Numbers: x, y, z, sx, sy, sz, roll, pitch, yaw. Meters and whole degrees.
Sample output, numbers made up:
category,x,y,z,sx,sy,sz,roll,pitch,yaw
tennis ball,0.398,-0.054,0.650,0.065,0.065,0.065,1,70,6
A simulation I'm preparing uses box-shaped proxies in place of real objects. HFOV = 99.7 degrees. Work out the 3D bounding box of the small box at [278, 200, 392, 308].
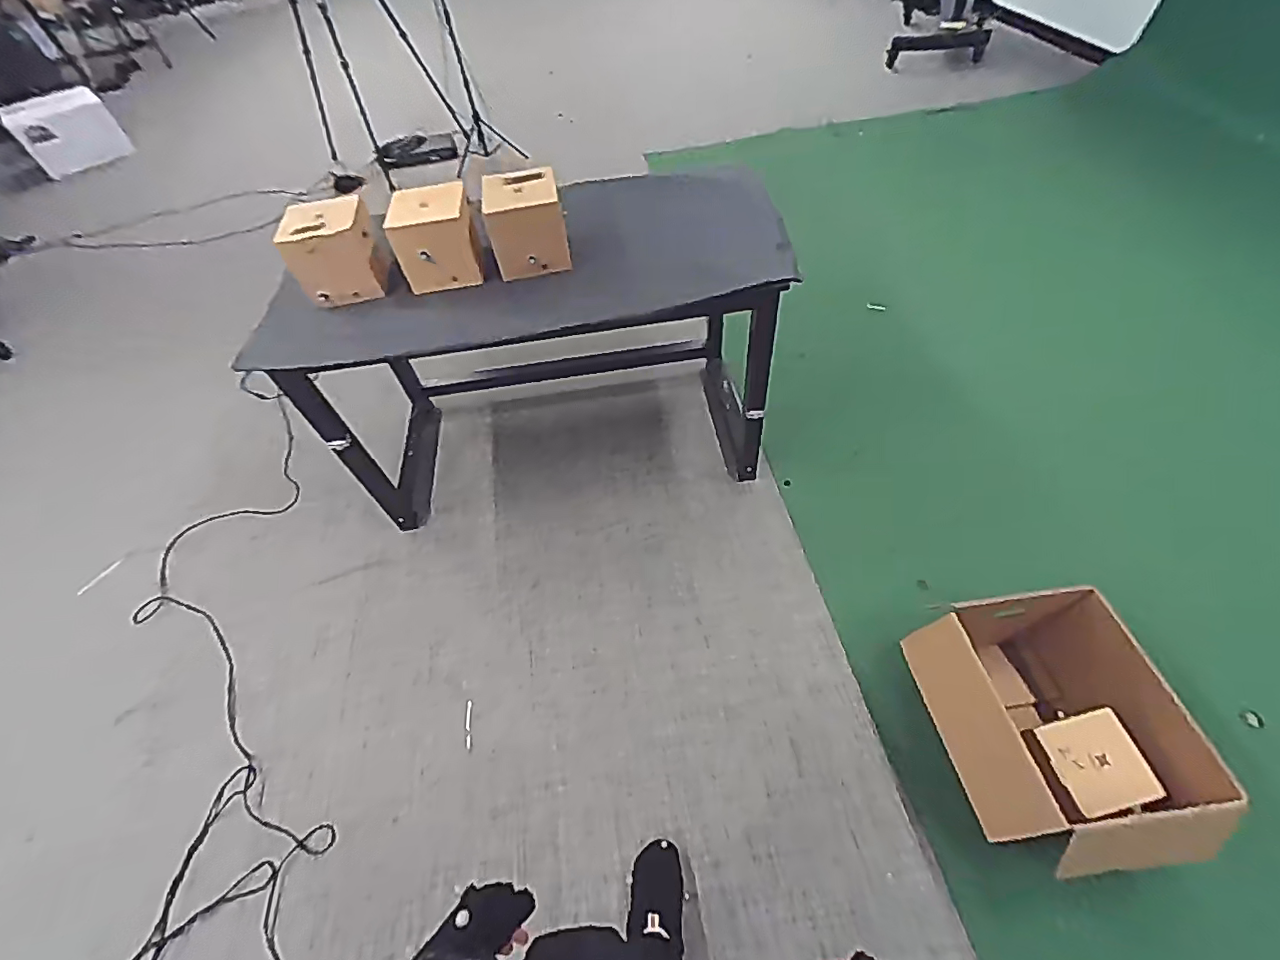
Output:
category,x,y,z,sx,sy,sz,roll,pitch,yaw
small box,-0.703,-0.523,1.269,0.168,0.176,0.179,-12,52,-4

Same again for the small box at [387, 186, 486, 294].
category,x,y,z,sx,sy,sz,roll,pitch,yaw
small box,-0.469,-0.556,1.273,0.168,0.176,0.179,-10,52,-1
